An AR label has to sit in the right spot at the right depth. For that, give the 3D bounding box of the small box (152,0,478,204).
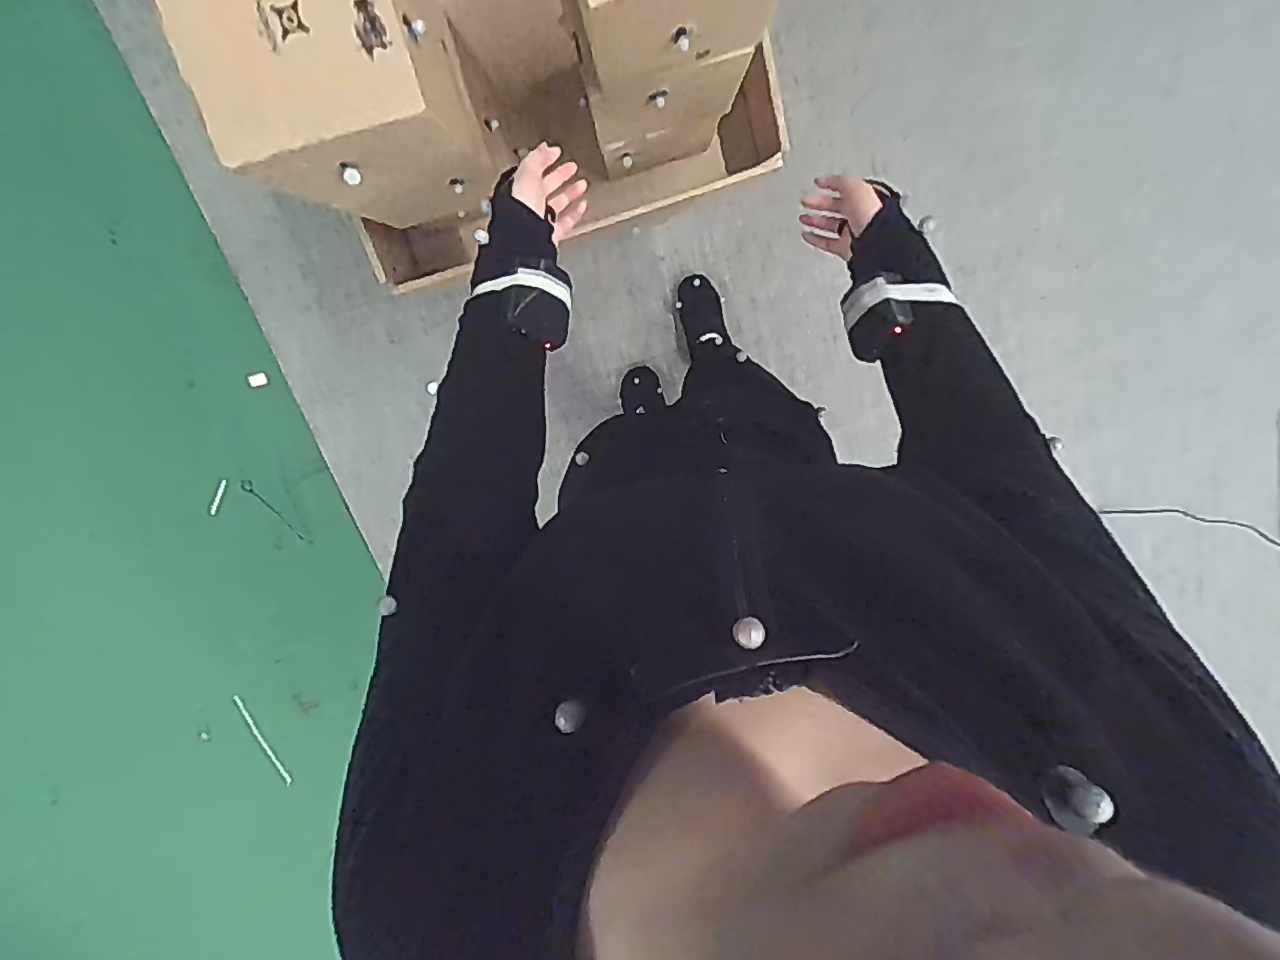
[{"bbox_3d":[-0.272,-0.367,0.486,0.179,0.176,0.168,-13,107,5],"label":"small box"}]

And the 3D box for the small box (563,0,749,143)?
[{"bbox_3d":[0.011,-0.509,0.608,0.179,0.176,0.168,-13,106,3],"label":"small box"}]

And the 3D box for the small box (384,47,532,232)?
[{"bbox_3d":[-0.277,-0.479,0.793,0.179,0.176,0.168,-15,106,4],"label":"small box"}]

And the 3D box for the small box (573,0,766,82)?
[{"bbox_3d":[0.015,-0.469,0.448,0.168,0.176,0.179,-15,106,4],"label":"small box"}]
